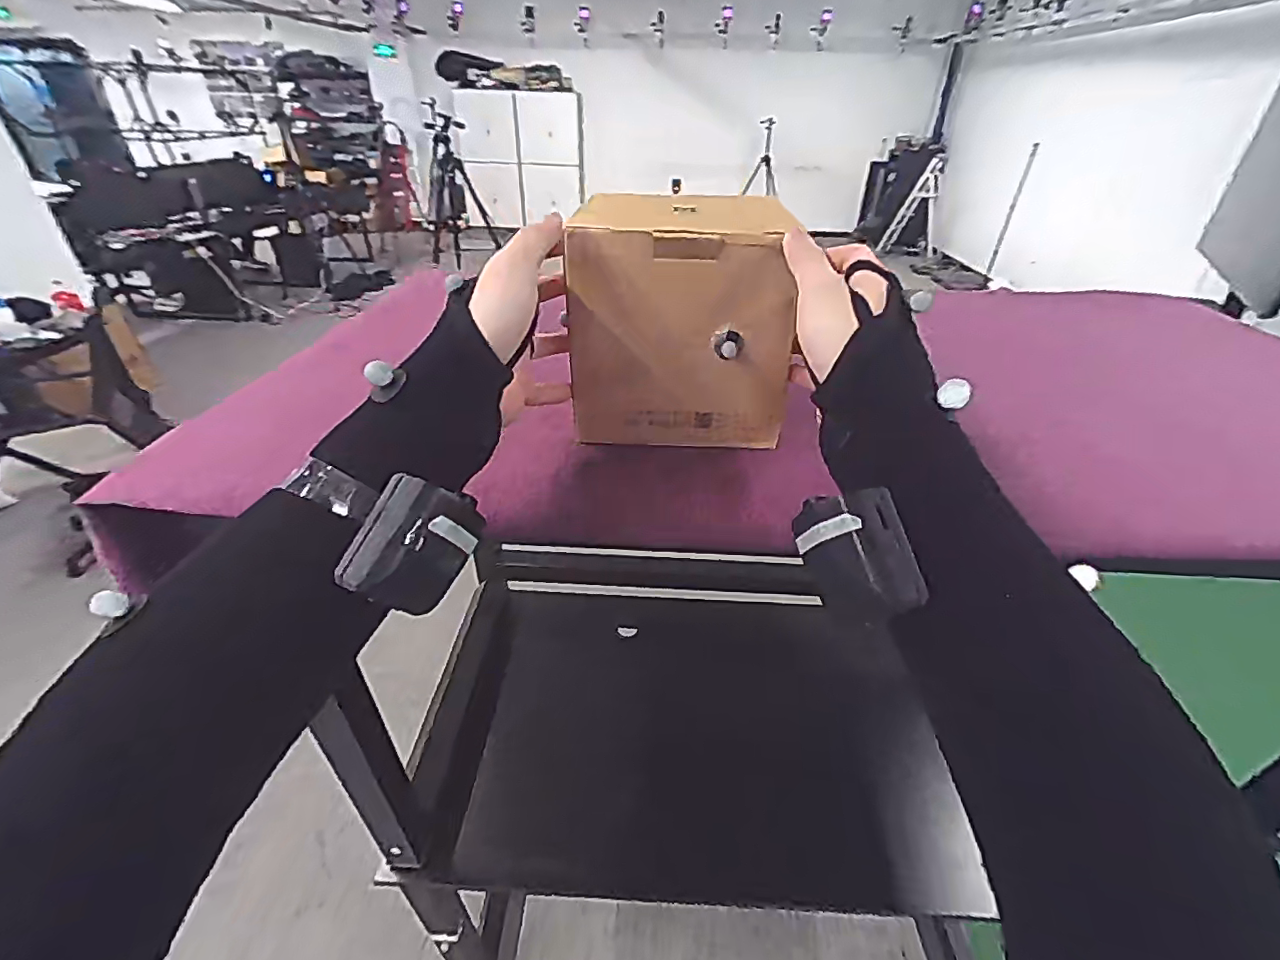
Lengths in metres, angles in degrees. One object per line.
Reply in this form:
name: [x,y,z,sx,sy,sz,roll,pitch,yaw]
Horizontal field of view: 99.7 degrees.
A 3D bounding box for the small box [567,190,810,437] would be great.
small box: [0.039,-0.148,0.468,0.168,0.176,0.179,3,33,3]
